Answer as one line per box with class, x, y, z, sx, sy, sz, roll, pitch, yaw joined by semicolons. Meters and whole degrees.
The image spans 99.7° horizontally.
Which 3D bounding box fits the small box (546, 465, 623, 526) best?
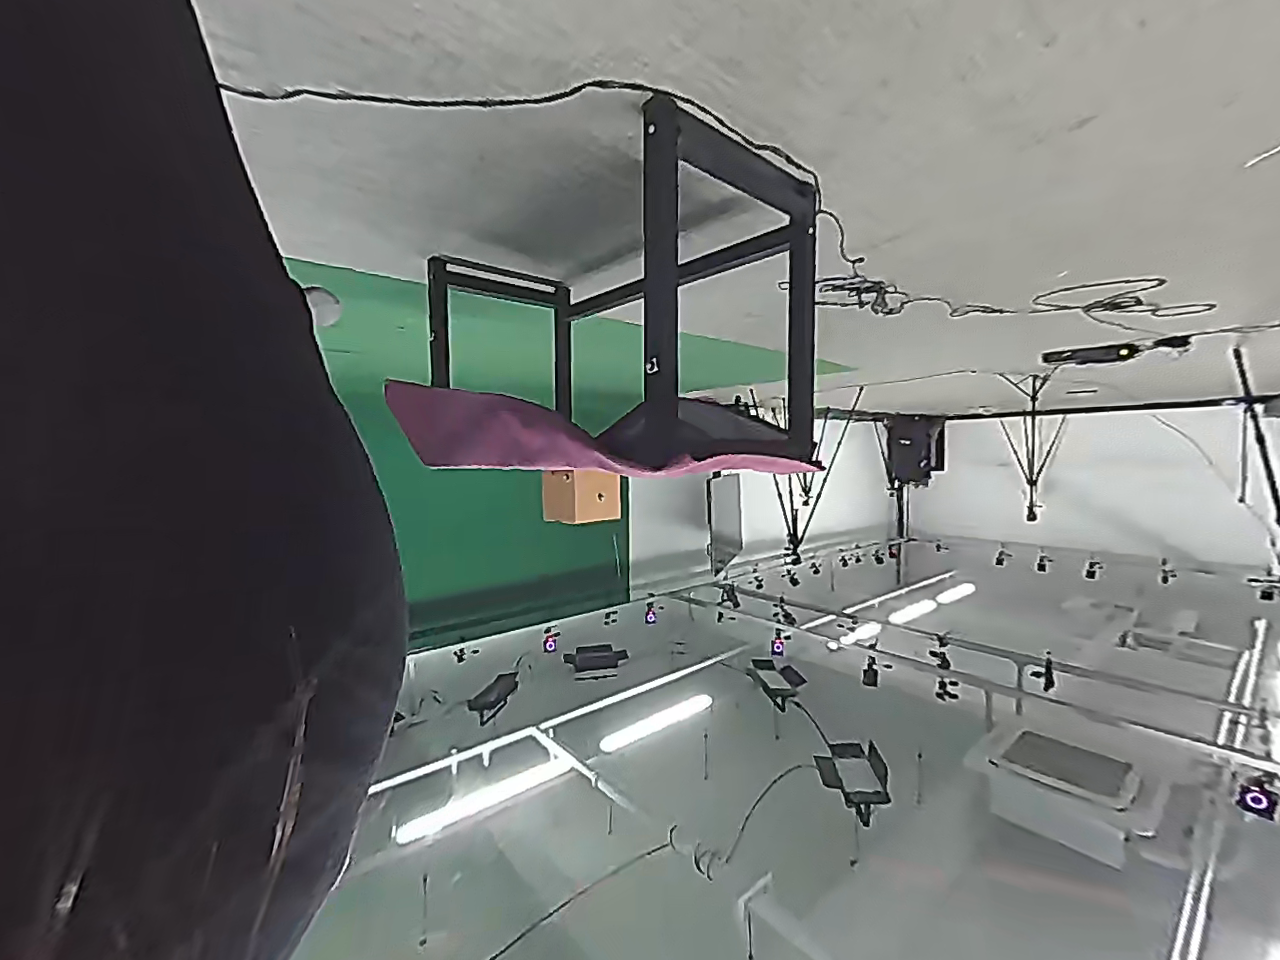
small box;-0.172;0.045;1.645;0.179;0.176;0.168;-4;-176;-43
